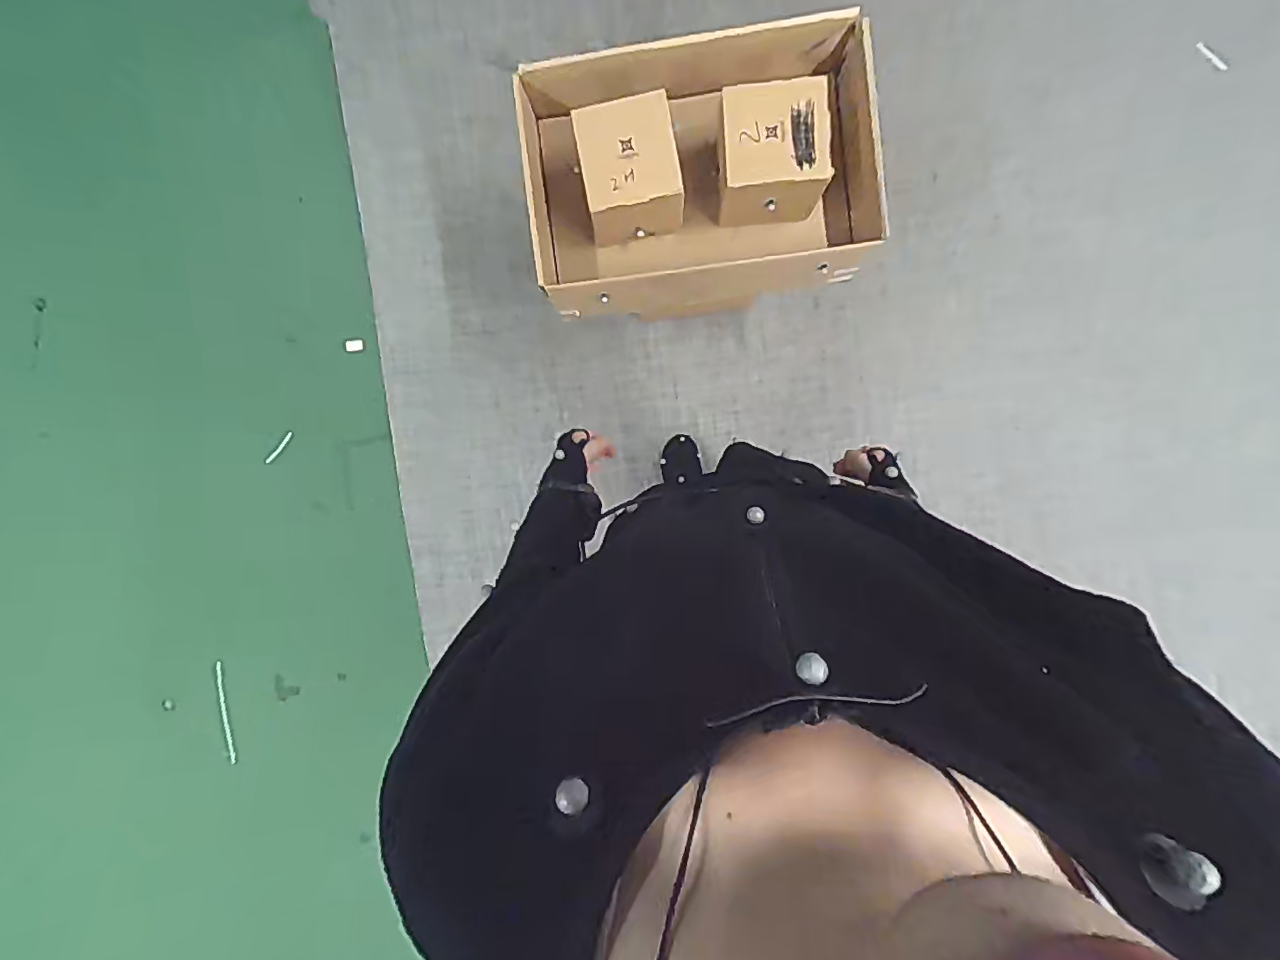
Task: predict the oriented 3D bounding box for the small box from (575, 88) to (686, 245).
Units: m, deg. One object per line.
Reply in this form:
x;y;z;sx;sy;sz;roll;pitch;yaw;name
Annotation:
-0.014;-0.560;0.988;0.168;0.176;0.179;-10;92;4;small box
